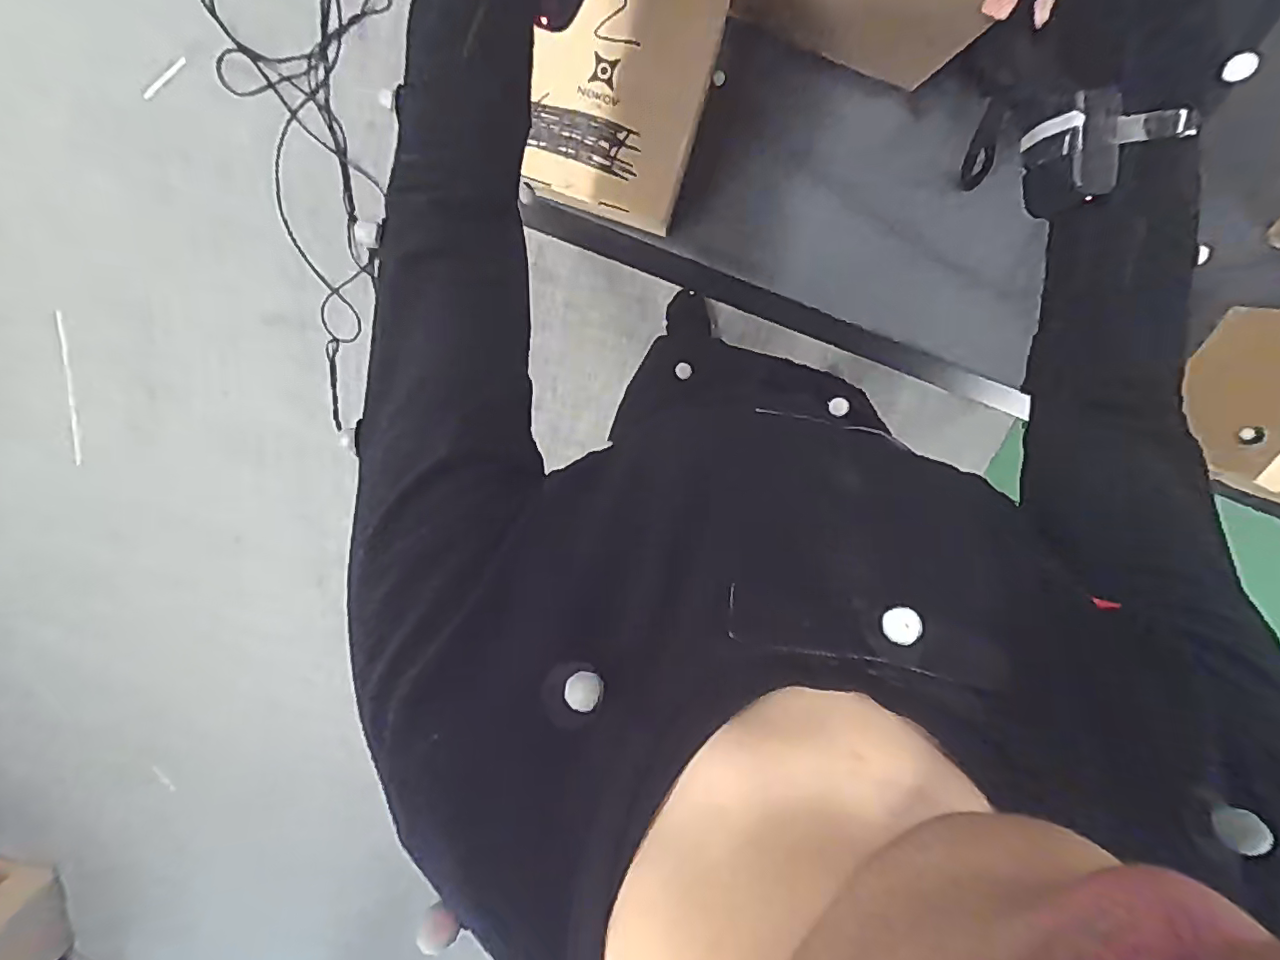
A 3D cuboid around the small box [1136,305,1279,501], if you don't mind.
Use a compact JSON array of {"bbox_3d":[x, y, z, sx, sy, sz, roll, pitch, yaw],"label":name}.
[{"bbox_3d":[0.711,-0.073,0.581,0.168,0.176,0.179,23,112,-4],"label":"small box"}]
